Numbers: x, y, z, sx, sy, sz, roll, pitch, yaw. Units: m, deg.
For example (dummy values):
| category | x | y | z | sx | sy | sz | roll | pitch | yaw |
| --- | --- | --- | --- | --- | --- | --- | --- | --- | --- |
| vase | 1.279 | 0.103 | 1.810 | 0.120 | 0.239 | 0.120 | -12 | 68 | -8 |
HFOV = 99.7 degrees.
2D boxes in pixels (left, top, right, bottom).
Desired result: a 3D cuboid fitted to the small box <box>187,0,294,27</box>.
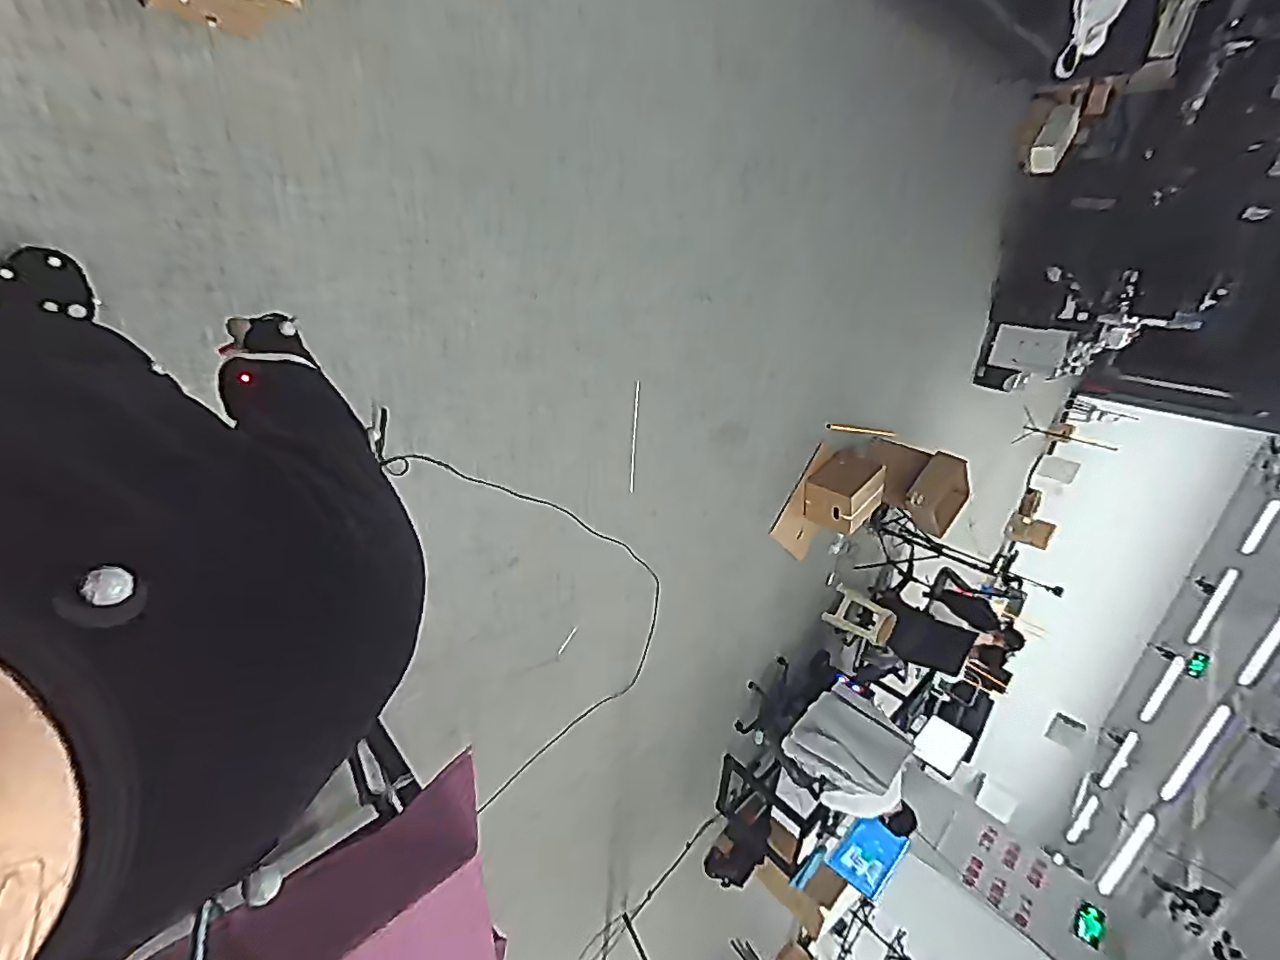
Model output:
| category | x | y | z | sx | sy | sz | roll | pitch | yaw |
| --- | --- | --- | --- | --- | --- | --- | --- | --- | --- |
| small box | -0.643 | -0.827 | 0.813 | 0.168 | 0.176 | 0.179 | -13 | 118 | -43 |

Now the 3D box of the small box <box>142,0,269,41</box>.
| category | x | y | z | sx | sy | sz | roll | pitch | yaw |
| --- | --- | --- | --- | --- | --- | --- | --- | --- | --- |
| small box | -0.755 | -0.887 | 0.919 | 0.168 | 0.176 | 0.179 | -15 | 121 | -42 |
